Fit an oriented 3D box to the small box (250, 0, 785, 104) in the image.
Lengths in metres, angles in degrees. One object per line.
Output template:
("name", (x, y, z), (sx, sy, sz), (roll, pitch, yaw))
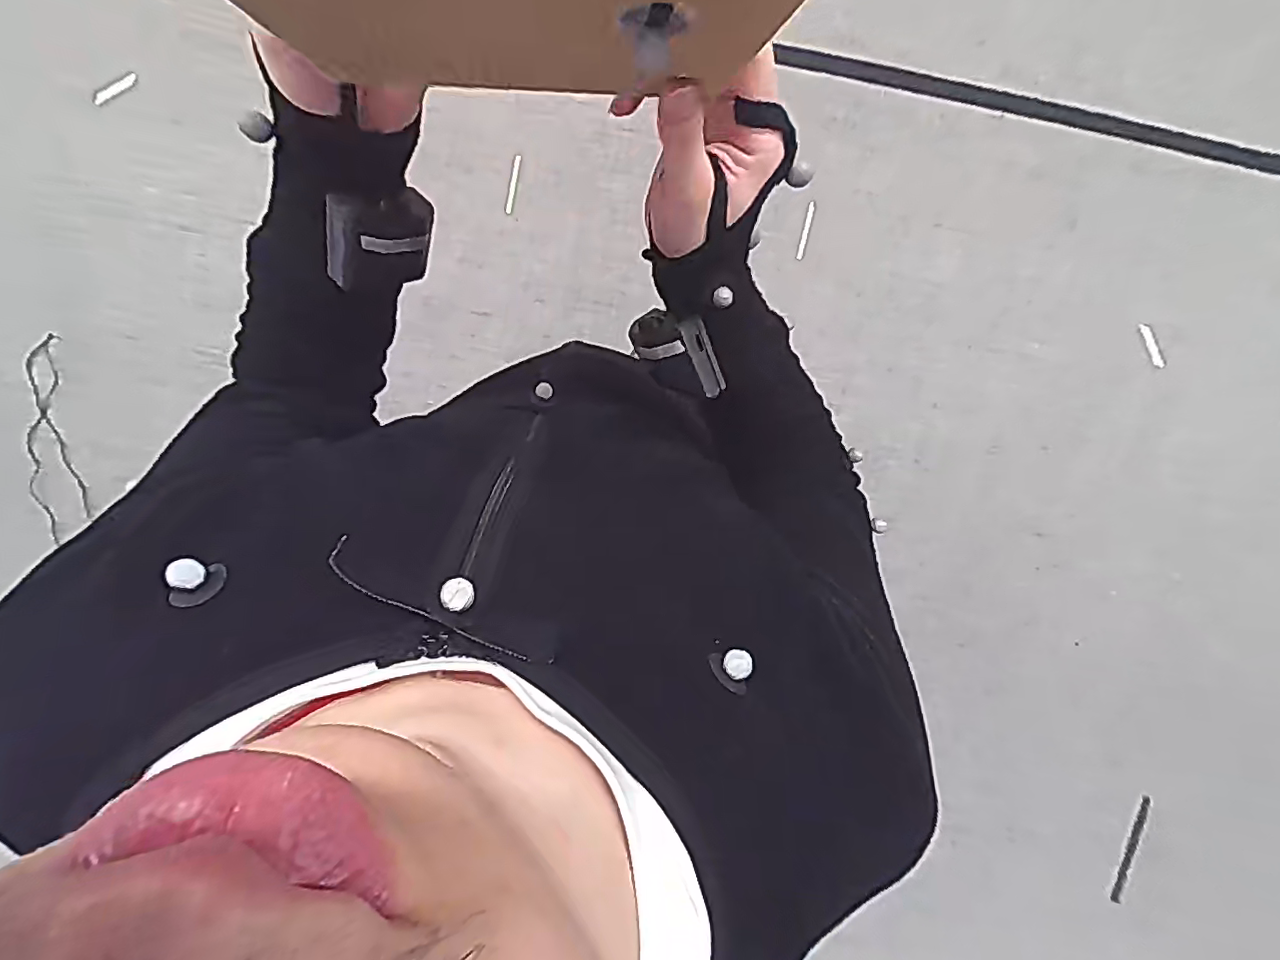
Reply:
("small box", (-0.038, -0.228, 0.153), (0.179, 0.176, 0.168), (-3, 110, -5))
